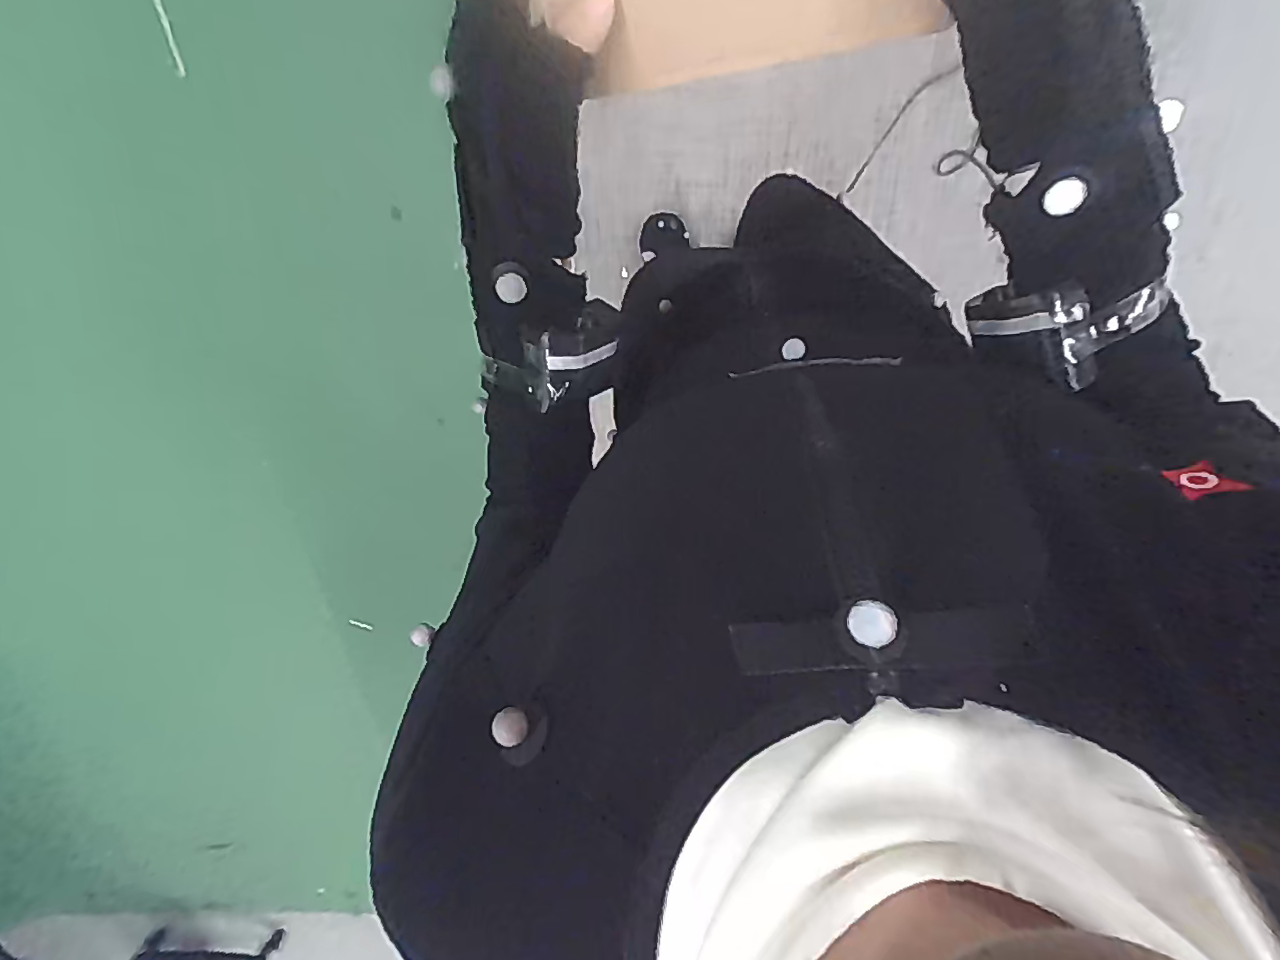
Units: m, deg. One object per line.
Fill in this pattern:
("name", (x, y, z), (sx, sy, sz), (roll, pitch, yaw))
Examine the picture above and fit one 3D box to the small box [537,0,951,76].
("small box", (0.039, -0.304, 0.223), (0.179, 0.176, 0.168), (-1, 144, 9))
